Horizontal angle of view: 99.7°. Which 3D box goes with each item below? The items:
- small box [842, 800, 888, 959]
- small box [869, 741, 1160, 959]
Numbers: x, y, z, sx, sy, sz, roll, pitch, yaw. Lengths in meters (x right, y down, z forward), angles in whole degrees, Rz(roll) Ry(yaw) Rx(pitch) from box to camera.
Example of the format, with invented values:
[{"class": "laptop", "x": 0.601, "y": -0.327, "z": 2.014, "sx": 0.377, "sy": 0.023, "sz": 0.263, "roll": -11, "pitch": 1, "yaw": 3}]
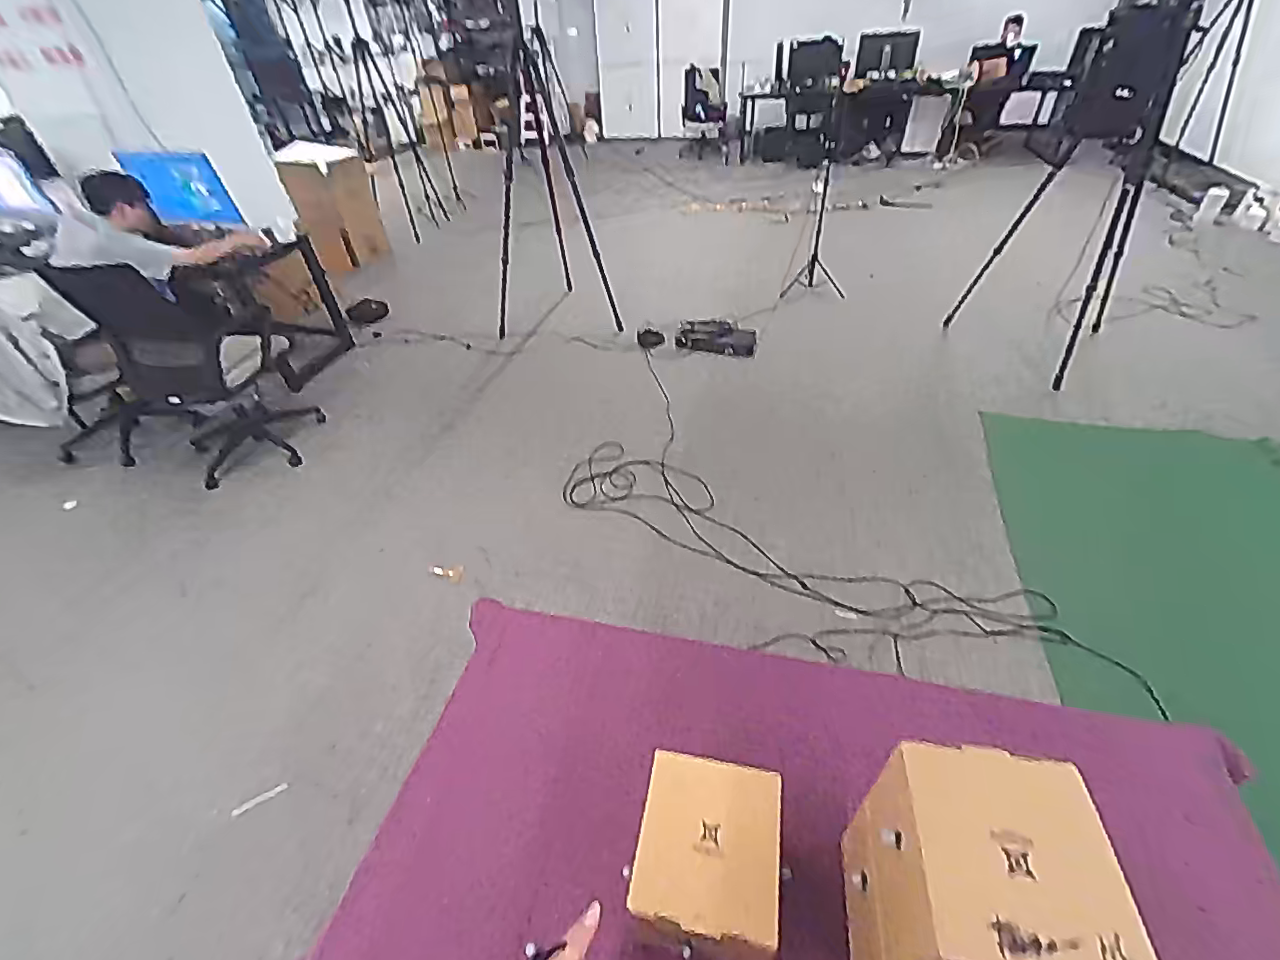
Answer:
[{"class": "small box", "x": 0.342, "y": 0.513, "z": 0.632, "sx": 0.168, "sy": 0.176, "sz": 0.179, "roll": 5, "pitch": 42, "yaw": 10}, {"class": "small box", "x": 0.334, "y": 0.388, "z": 0.525, "sx": 0.168, "sy": 0.176, "sz": 0.179, "roll": 4, "pitch": 41, "yaw": 10}]
